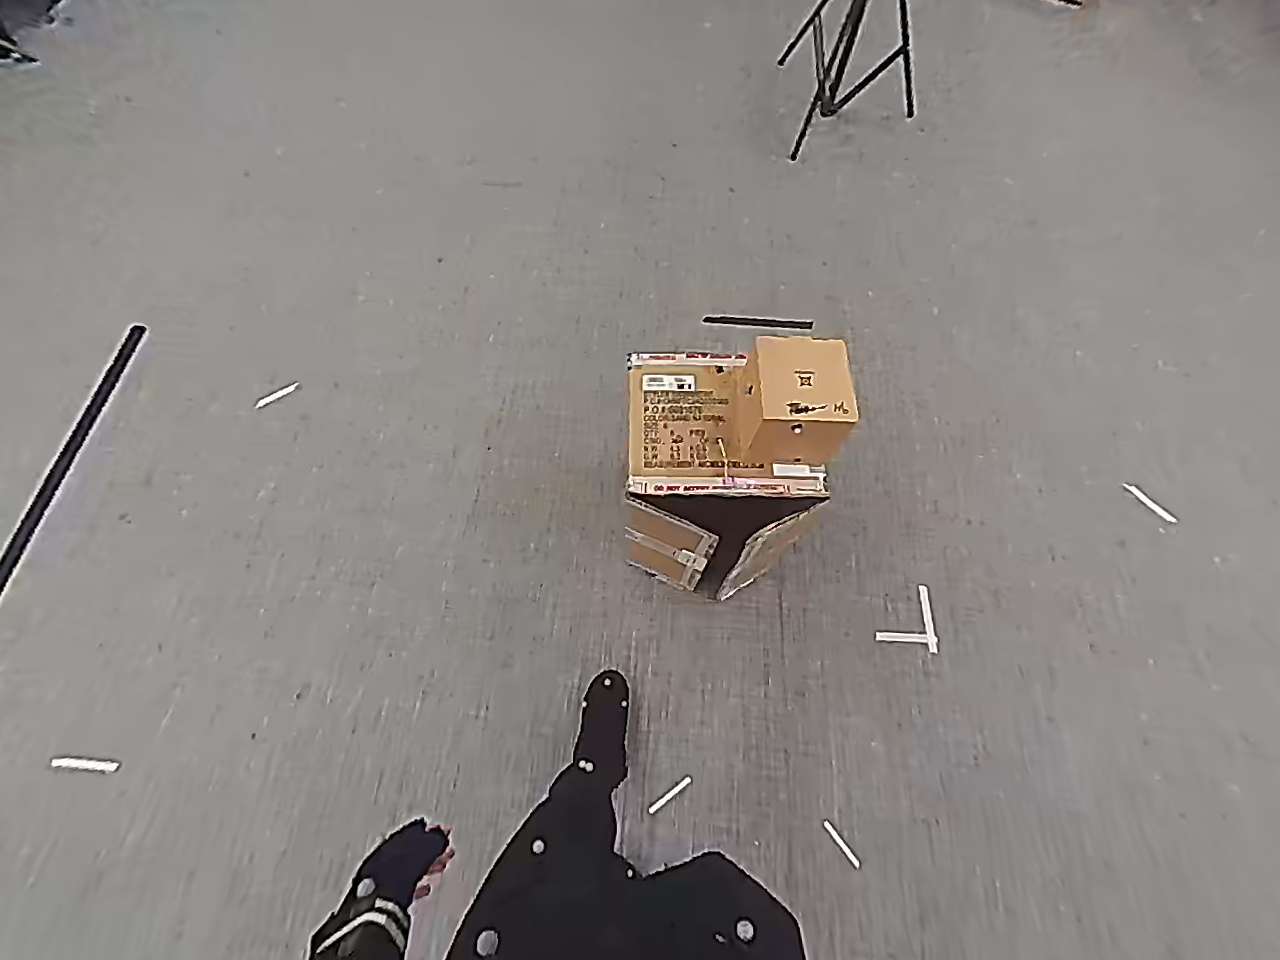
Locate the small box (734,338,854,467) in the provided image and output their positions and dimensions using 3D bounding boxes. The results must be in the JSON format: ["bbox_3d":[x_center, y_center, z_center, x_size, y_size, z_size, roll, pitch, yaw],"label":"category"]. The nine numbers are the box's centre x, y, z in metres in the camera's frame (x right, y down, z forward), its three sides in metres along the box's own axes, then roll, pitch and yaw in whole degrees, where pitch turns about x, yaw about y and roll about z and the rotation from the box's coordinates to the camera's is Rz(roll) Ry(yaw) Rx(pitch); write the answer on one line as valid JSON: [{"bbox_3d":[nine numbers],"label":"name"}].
[{"bbox_3d":[0.275,-0.141,1.011,0.168,0.176,0.179,2,65,-2],"label":"small box"}]
